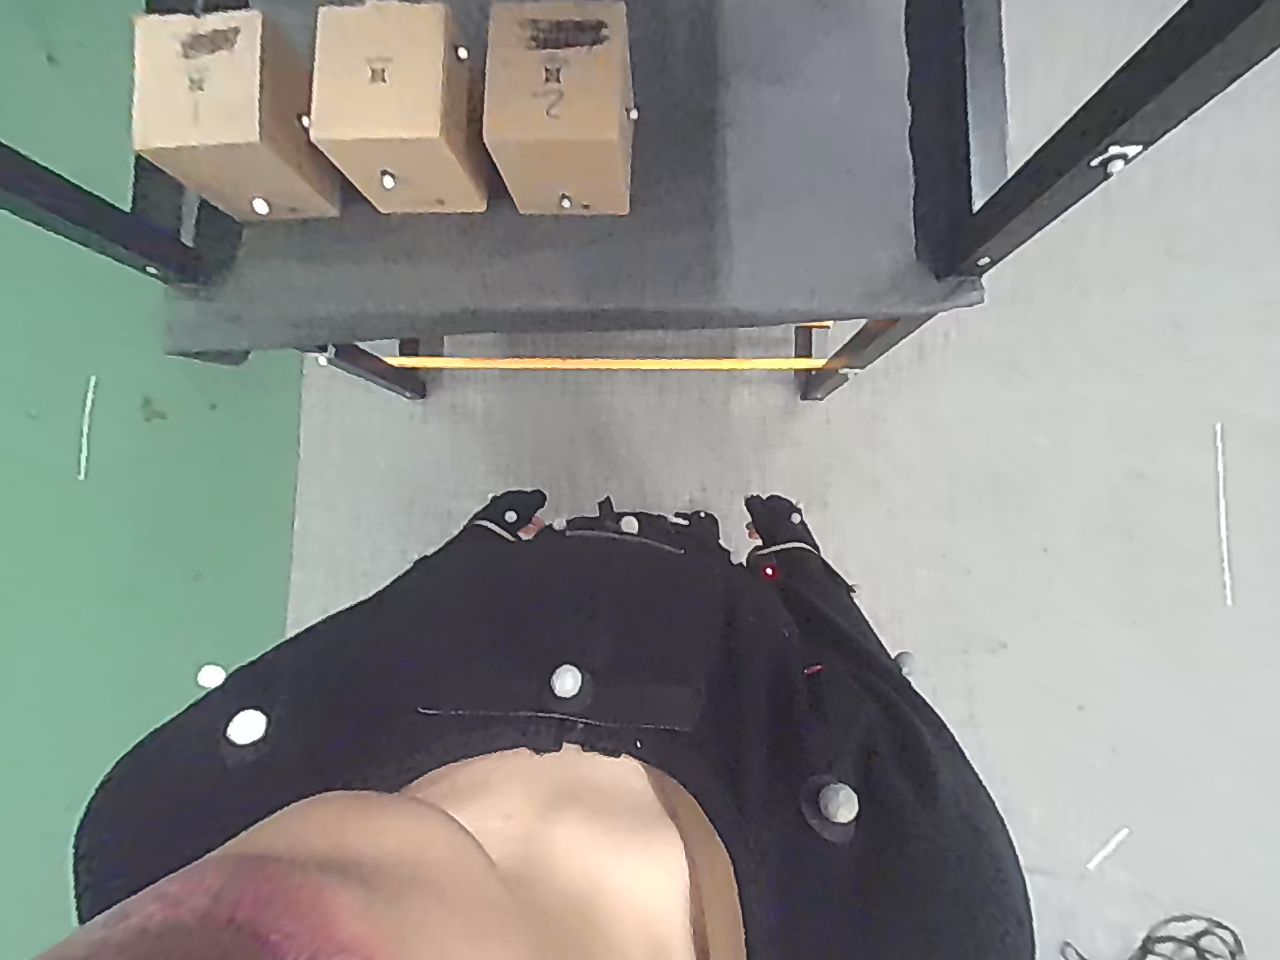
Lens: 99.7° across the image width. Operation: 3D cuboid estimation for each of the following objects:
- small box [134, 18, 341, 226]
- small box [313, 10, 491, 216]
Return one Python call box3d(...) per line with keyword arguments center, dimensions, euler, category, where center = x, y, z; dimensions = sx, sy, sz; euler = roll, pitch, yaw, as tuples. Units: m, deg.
box3d(center=(-0.539, -0.482, 0.750), dimensions=(0.168, 0.176, 0.179), euler=(-2, 86, 3), category="small box")
box3d(center=(-0.312, -0.486, 0.740), dimensions=(0.168, 0.176, 0.179), euler=(1, 85, 3), category="small box")
